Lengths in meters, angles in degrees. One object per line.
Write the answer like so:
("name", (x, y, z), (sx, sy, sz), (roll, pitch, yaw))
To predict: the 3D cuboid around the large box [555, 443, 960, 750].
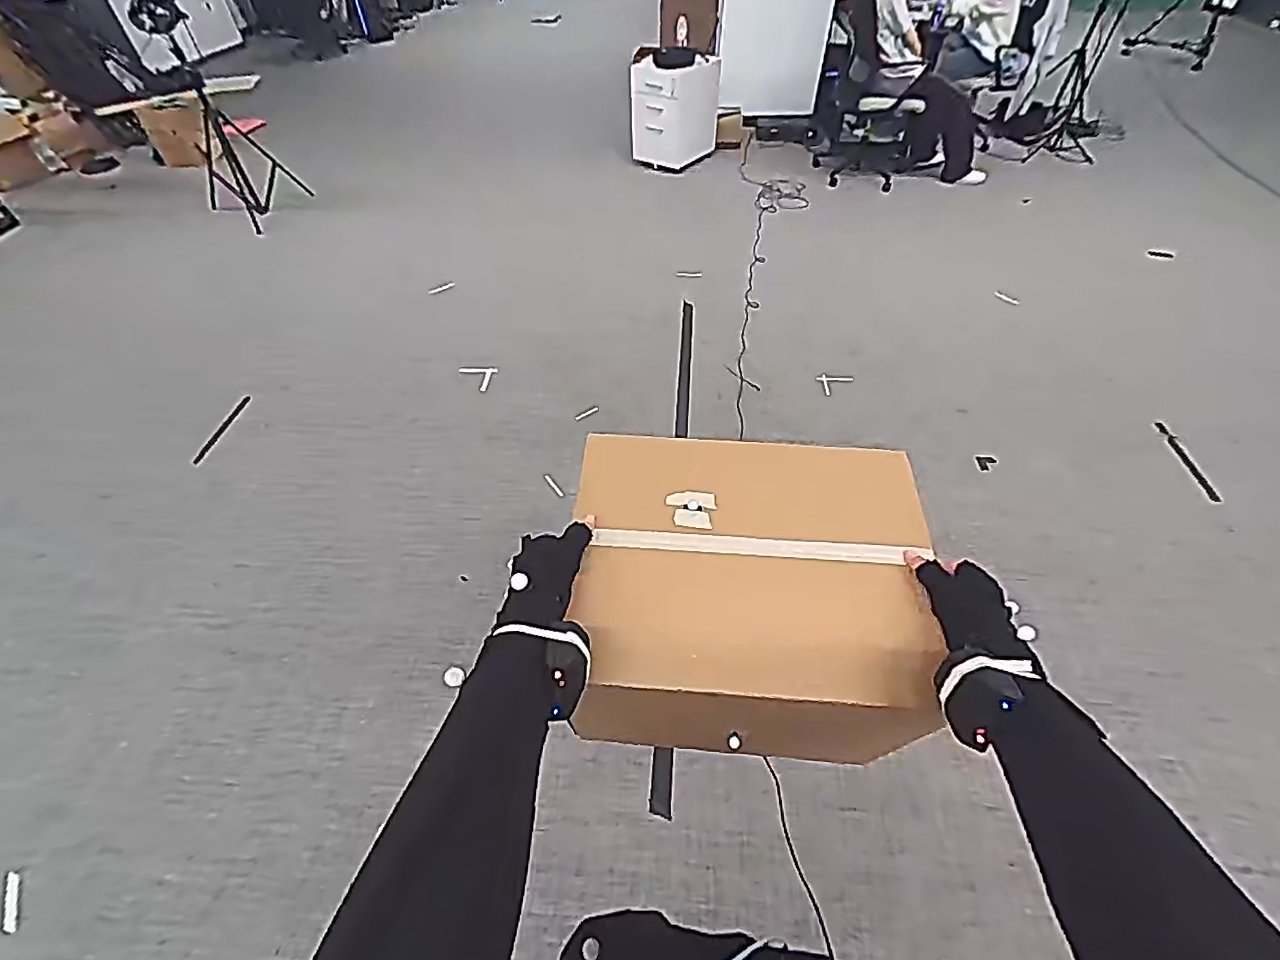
("large box", (0.125, 0.168, 0.735), (0.408, 0.320, 0.320), (3, 54, 3))
